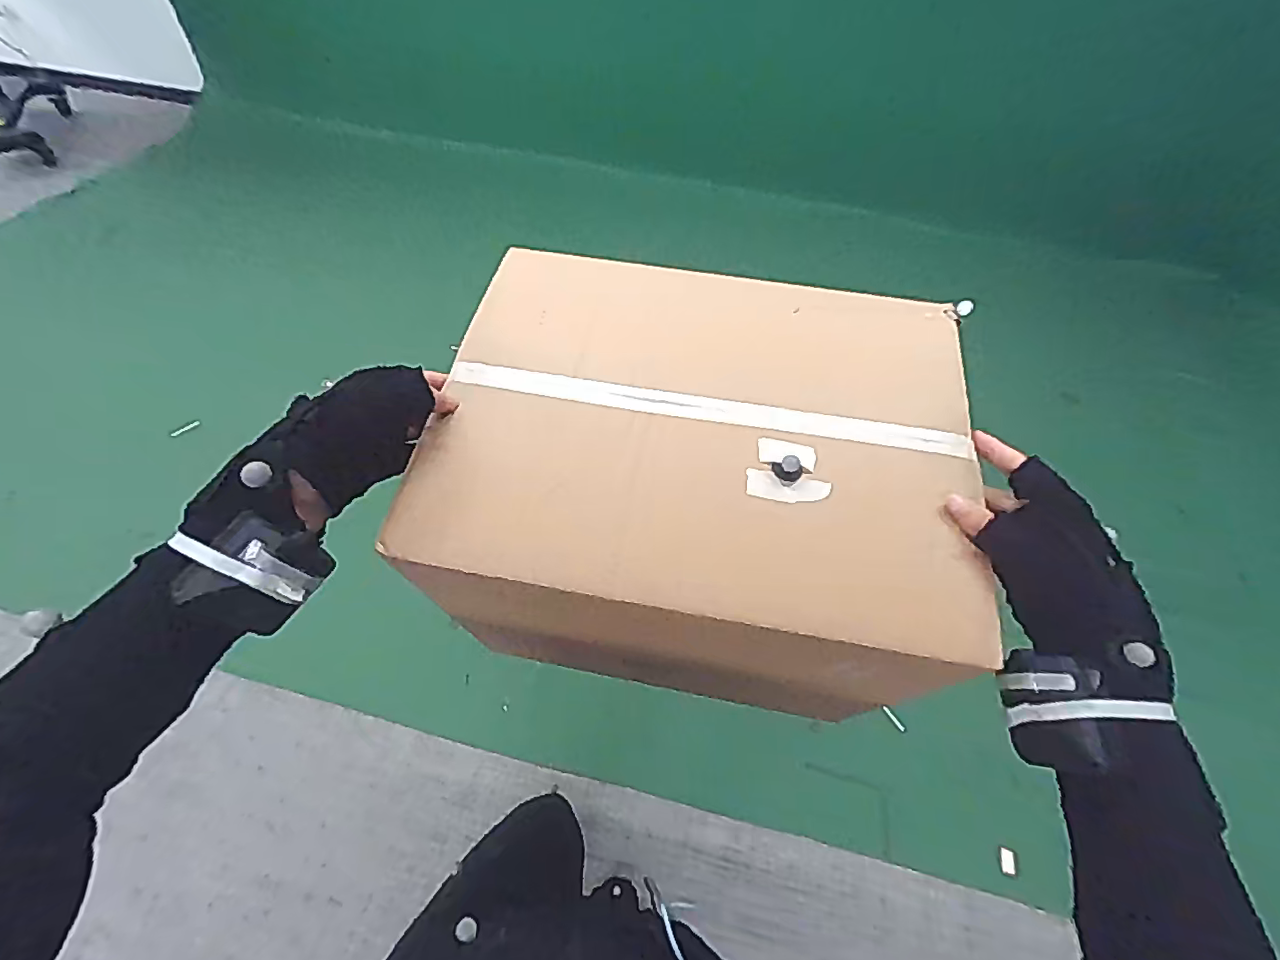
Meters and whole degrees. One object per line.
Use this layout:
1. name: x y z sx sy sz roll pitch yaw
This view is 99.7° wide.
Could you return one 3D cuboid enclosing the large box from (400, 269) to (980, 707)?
1. large box: 0.047 0.025 0.563 0.408 0.320 0.320 9 62 5
